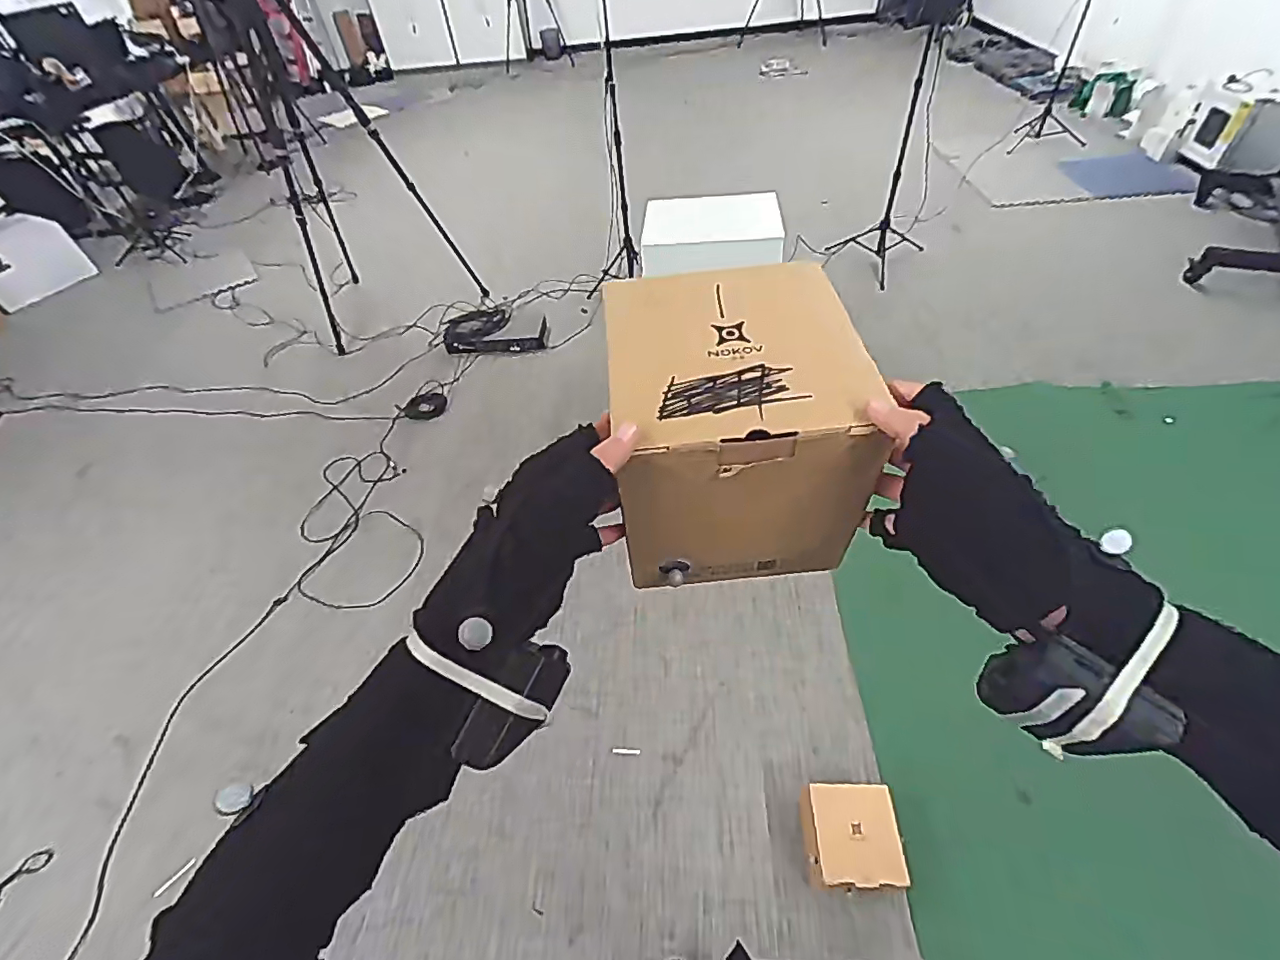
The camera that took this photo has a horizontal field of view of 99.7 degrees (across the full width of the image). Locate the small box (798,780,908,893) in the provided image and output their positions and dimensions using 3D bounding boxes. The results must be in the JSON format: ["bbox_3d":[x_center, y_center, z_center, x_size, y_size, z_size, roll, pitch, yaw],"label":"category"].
[{"bbox_3d":[0.440,0.760,1.151,0.168,0.176,0.179,-2,48,5],"label":"small box"}]
